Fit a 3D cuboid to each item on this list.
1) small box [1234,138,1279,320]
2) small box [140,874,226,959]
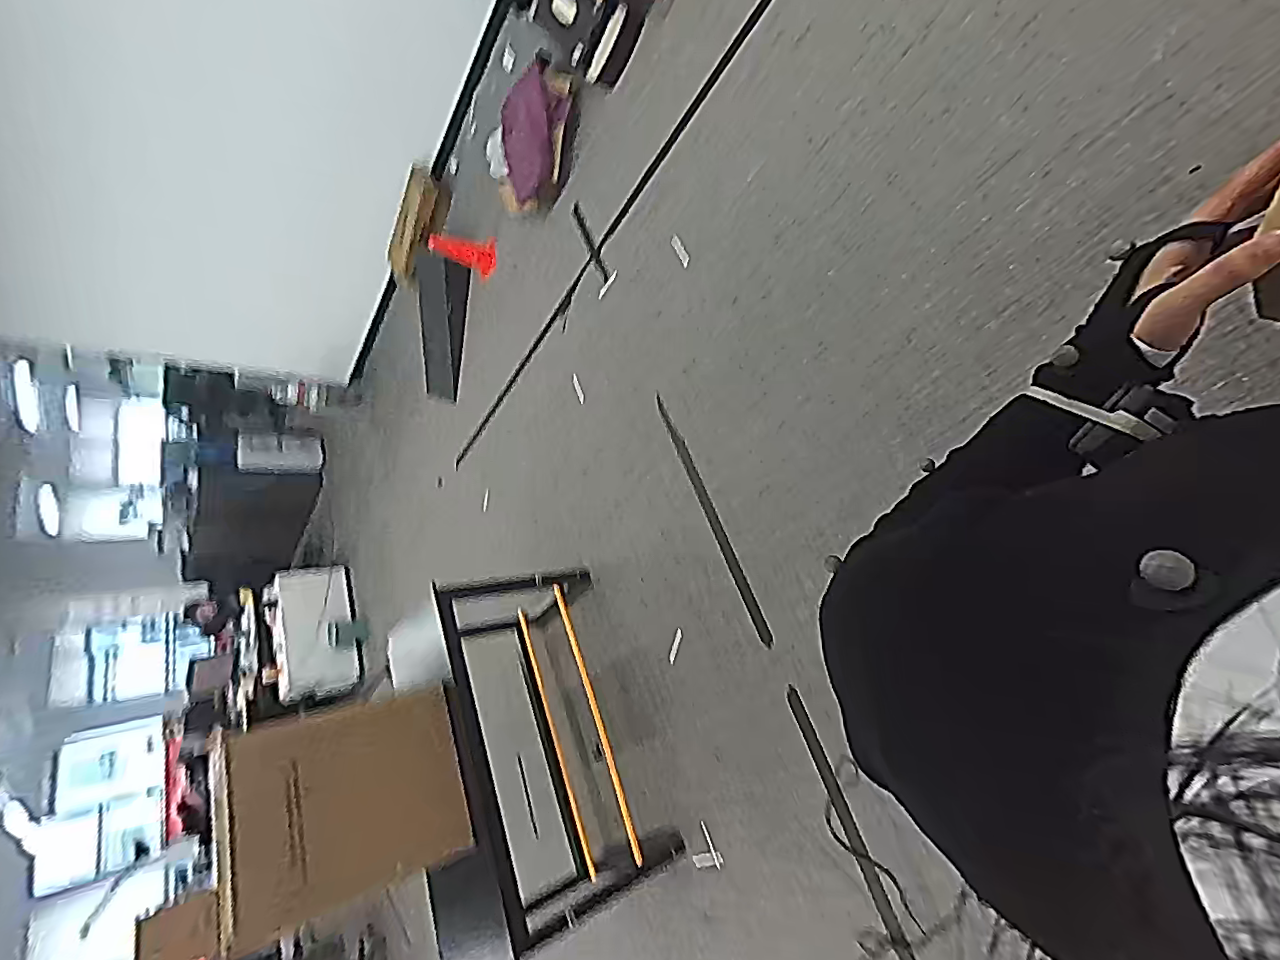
[{"bbox_3d":[0.466,-0.182,0.279,0.168,0.176,0.179,30,111,48],"label":"small box"},{"bbox_3d":[-1.227,1.198,1.456,0.179,0.176,0.168,-46,57,39],"label":"small box"}]
